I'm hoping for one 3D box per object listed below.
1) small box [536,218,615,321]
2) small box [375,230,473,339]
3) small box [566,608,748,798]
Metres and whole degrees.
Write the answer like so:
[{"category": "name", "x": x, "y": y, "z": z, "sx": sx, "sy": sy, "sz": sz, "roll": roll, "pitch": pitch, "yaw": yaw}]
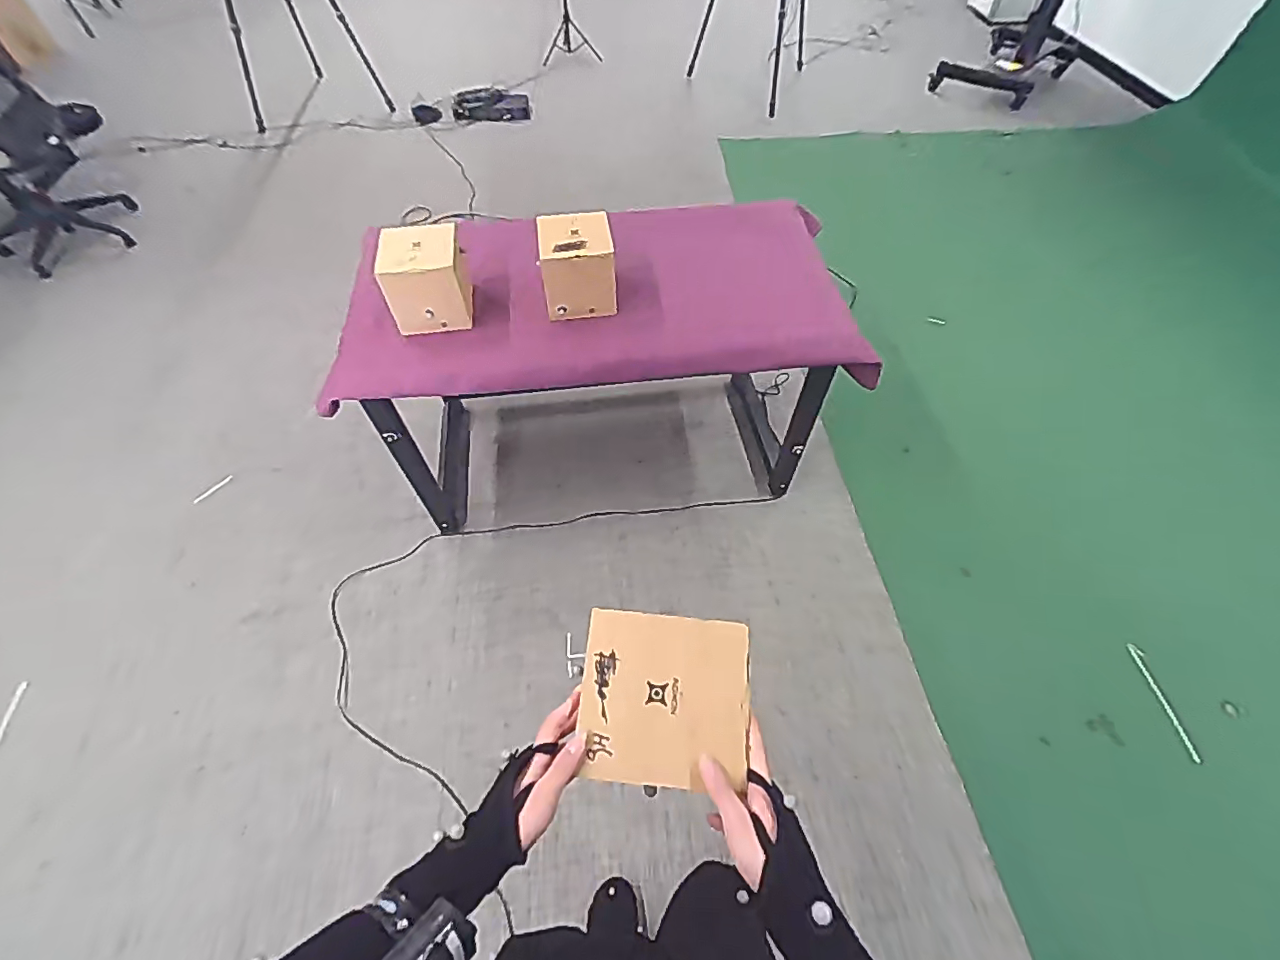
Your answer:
[{"category": "small box", "x": -0.152, "y": -0.497, "z": 1.297, "sx": 0.168, "sy": 0.176, "sz": 0.179, "roll": -7, "pitch": 55, "yaw": -5}, {"category": "small box", "x": -0.495, "y": -0.455, "z": 1.263, "sx": 0.168, "sy": 0.176, "sz": 0.179, "roll": -8, "pitch": 56, "yaw": -6}, {"category": "small box", "x": 0.019, "y": 0.258, "z": 0.626, "sx": 0.179, "sy": 0.176, "sz": 0.168, "roll": 6, "pitch": 63, "yaw": 0}]
